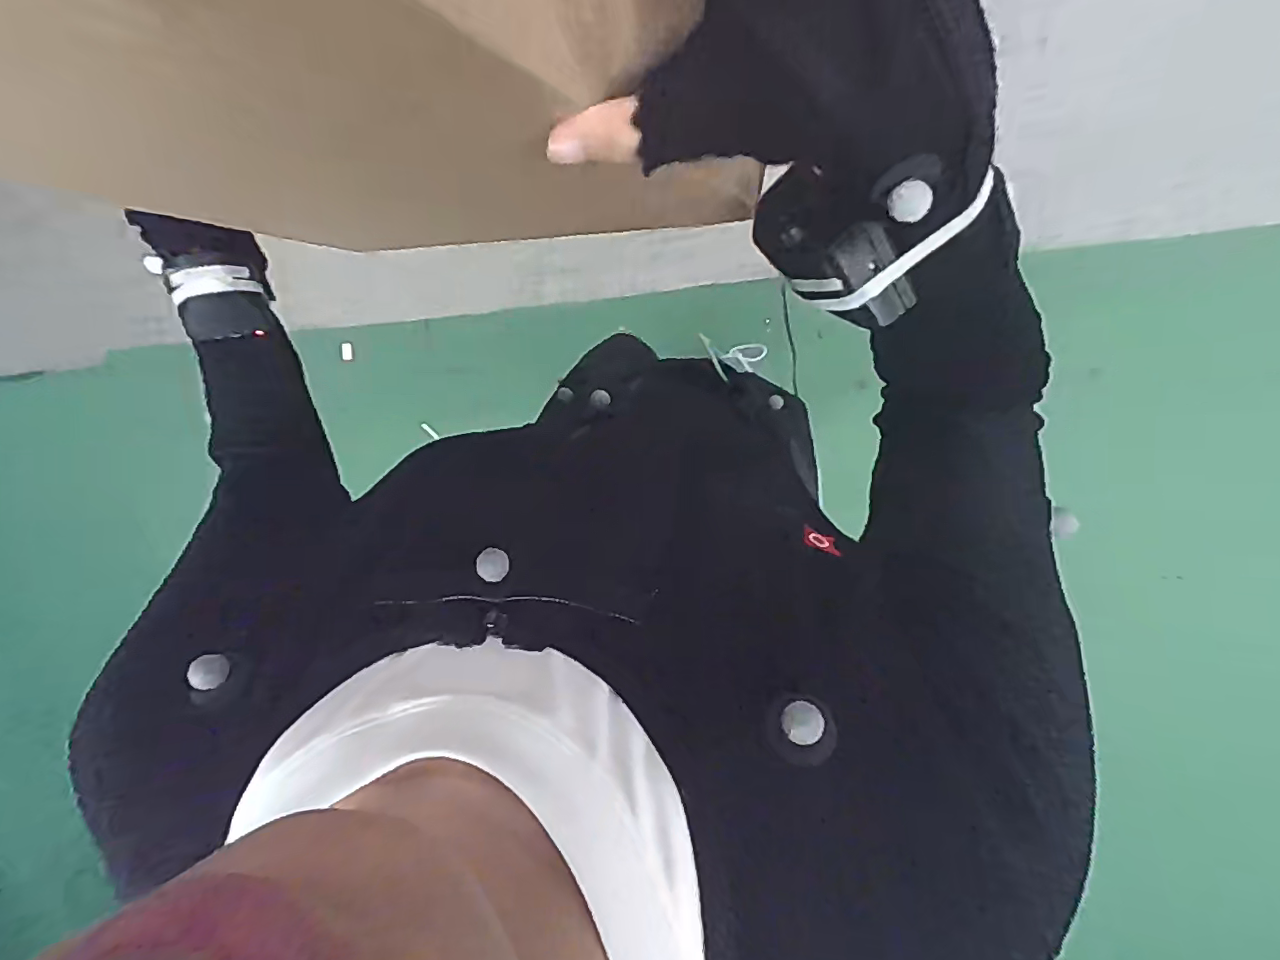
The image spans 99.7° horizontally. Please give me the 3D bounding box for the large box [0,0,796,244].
[{"bbox_3d":[-0.164,-0.314,0.247,0.408,0.320,0.320,13,106,33],"label":"large box"}]
